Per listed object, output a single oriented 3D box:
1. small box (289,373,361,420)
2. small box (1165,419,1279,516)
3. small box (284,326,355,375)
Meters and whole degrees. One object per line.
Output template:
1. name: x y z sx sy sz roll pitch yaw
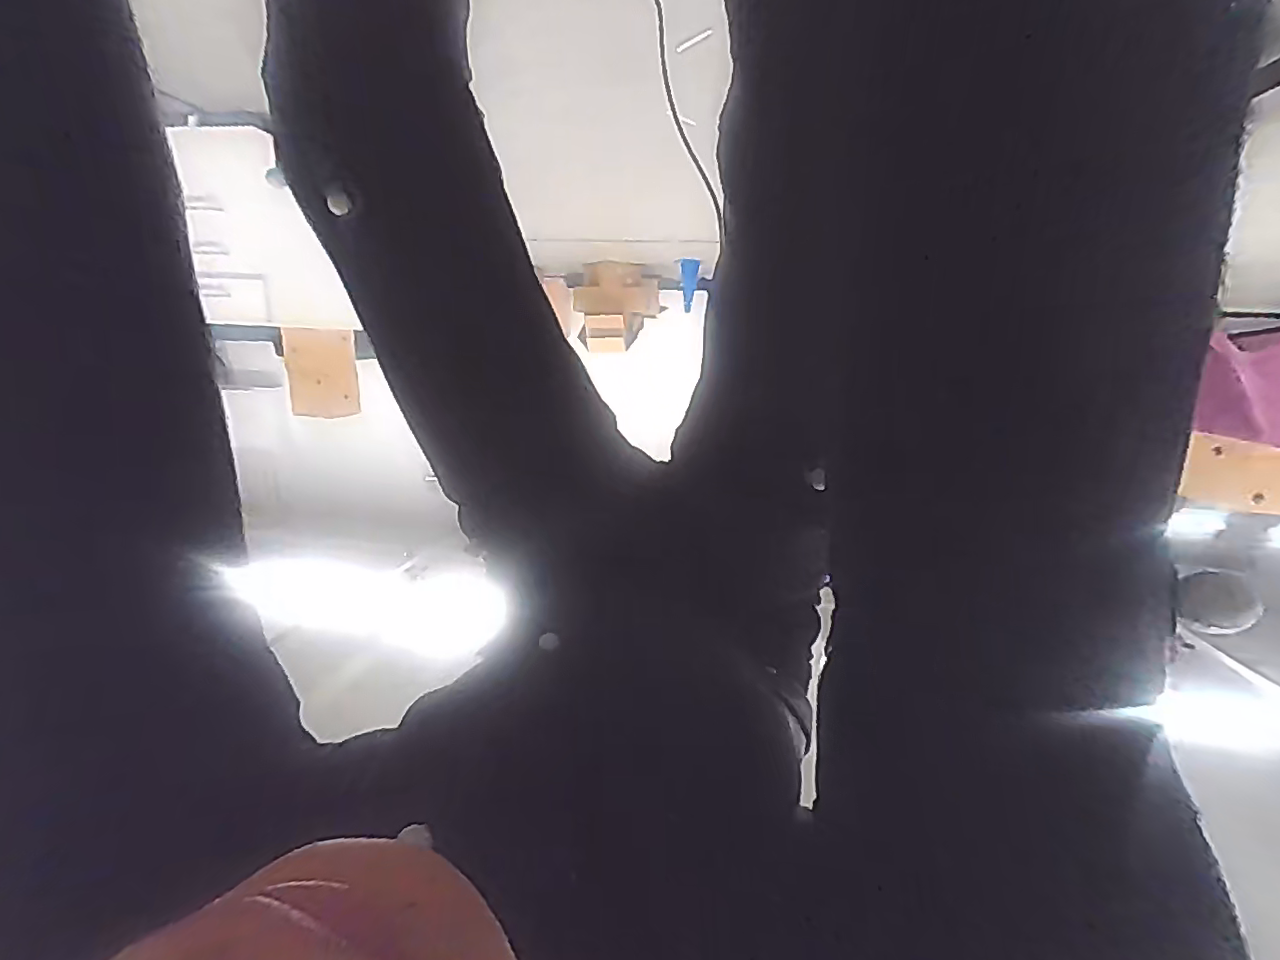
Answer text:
1. small box: -1.217 -0.334 2.089 0.168 0.176 0.179 6 -164 10
2. small box: 1.285 -0.030 1.136 0.179 0.176 0.168 5 -166 9
3. small box: -1.210 -0.491 2.042 0.179 0.176 0.168 5 -165 6
